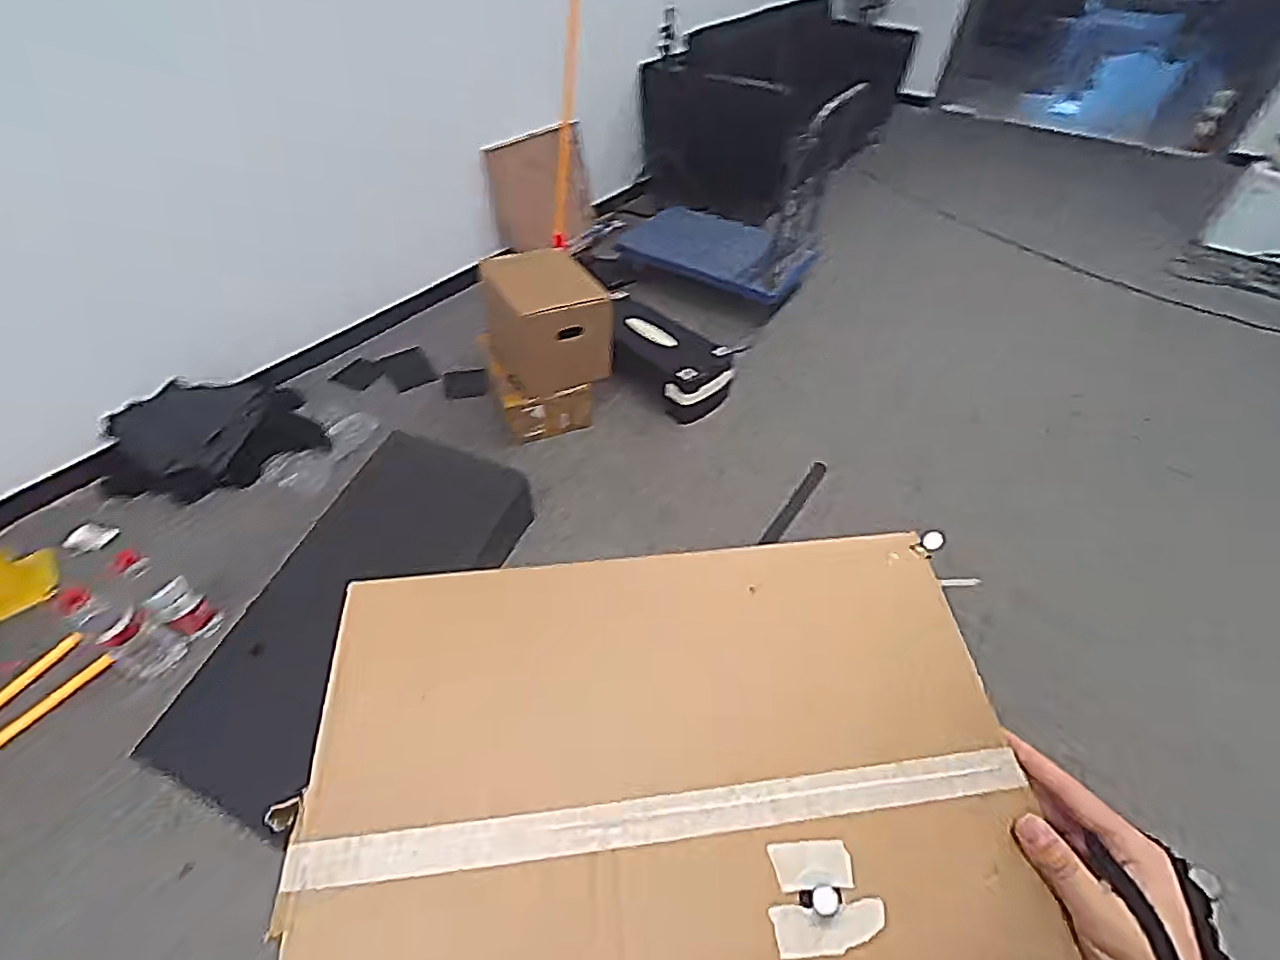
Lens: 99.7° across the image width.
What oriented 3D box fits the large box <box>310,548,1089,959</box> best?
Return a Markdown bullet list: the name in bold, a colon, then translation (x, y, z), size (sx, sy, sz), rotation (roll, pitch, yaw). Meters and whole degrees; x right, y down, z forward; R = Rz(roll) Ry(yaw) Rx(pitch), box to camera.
- **large box**: translation (0.019, 0.276, 0.433), size (0.408, 0.320, 0.320), rotation (-4, 58, -6)
